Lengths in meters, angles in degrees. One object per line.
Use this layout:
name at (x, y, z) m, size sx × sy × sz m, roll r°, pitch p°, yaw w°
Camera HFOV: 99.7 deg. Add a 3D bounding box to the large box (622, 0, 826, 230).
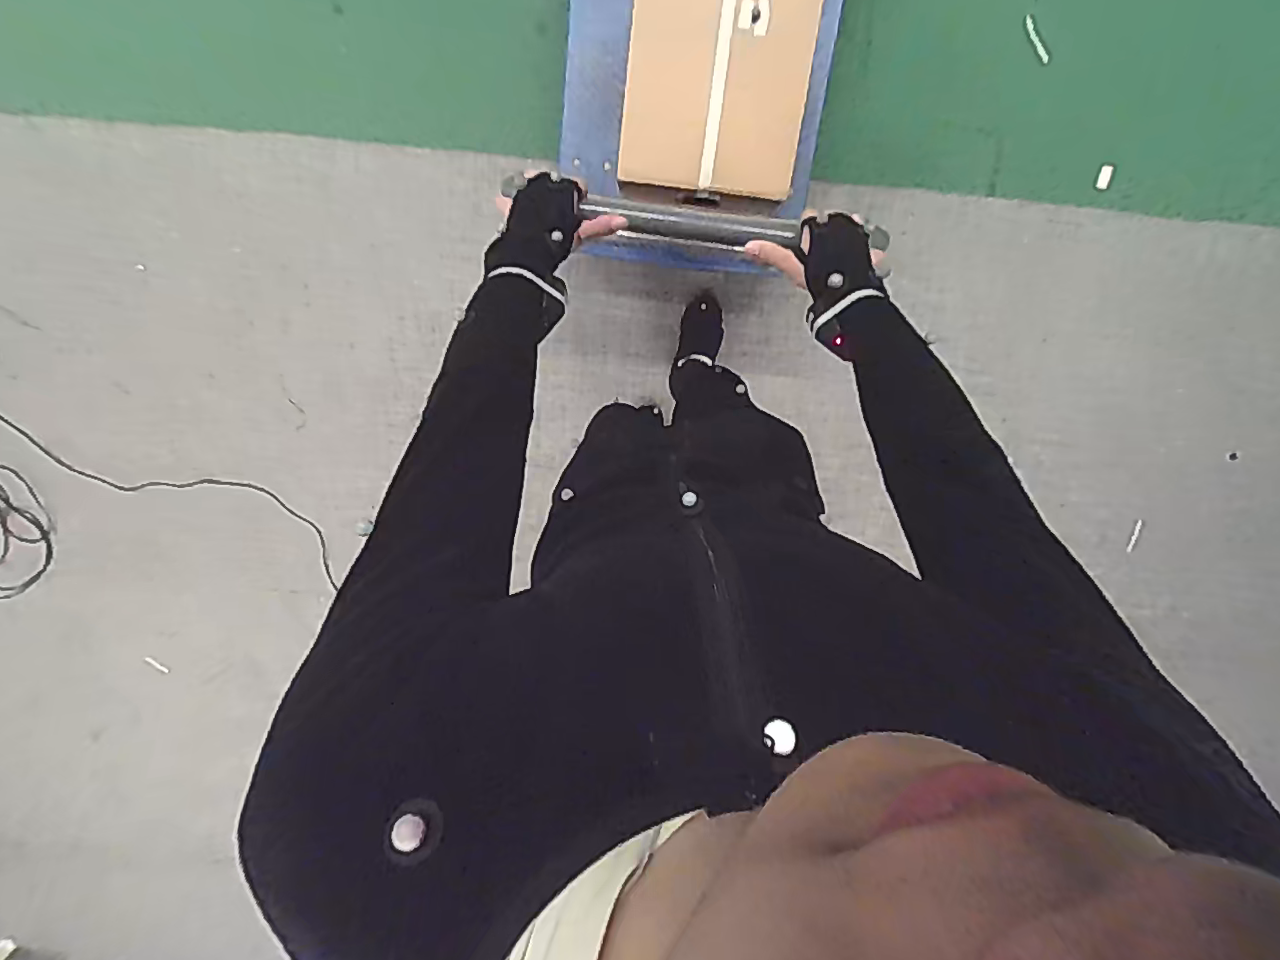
large box at (0.145, -0.741, 1.054) m, size 0.320 × 0.320 × 0.408 m, roll 7°, pitch 105°, yaw -1°
